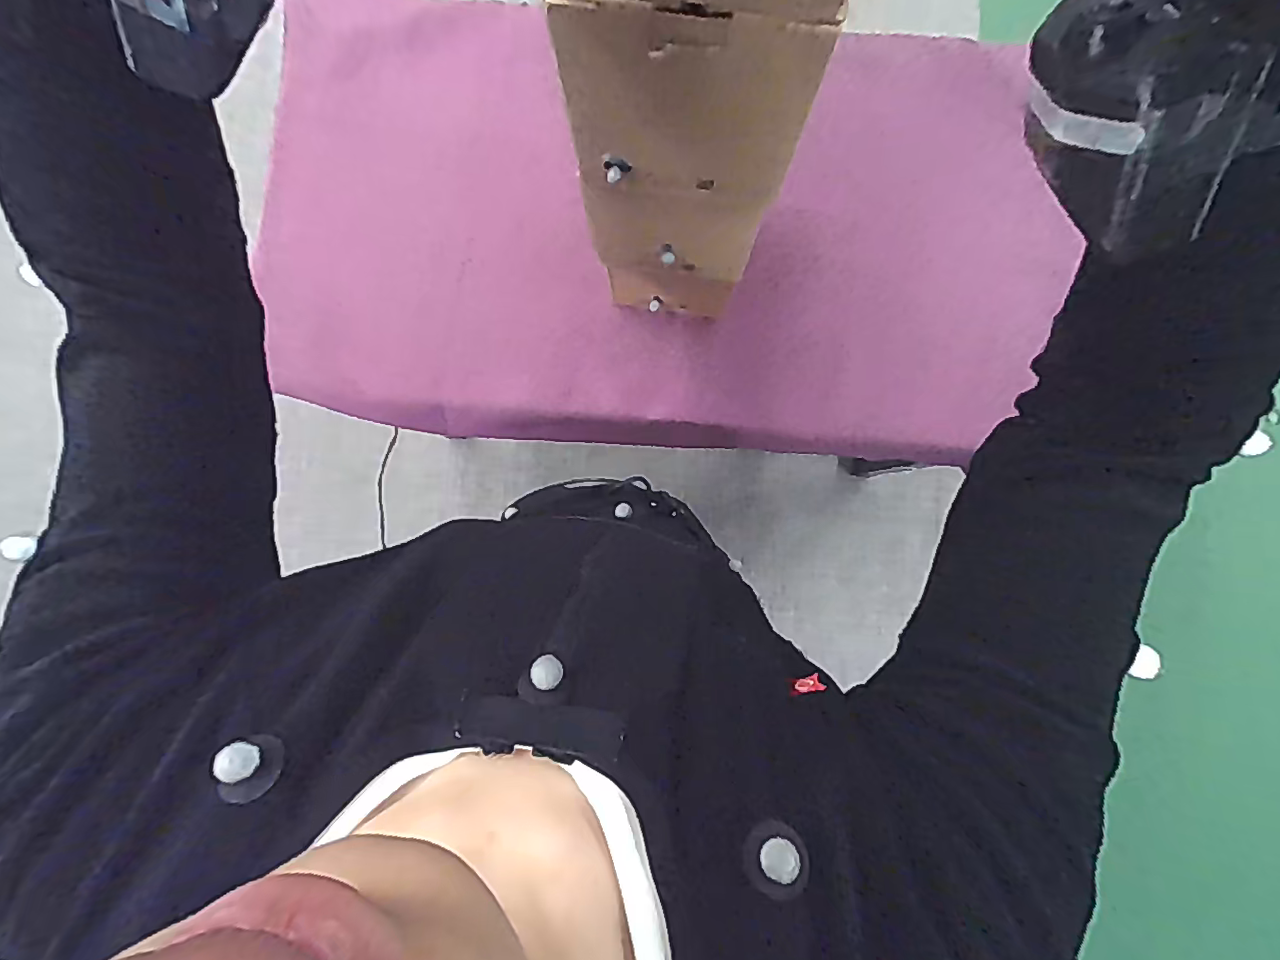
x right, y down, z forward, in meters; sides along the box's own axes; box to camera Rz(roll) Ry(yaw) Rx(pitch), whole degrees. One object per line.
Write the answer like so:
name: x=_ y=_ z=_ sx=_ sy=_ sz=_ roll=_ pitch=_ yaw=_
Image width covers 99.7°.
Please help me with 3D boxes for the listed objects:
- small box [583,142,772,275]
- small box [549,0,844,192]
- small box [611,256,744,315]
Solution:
small box: x=0.044 y=-0.334 z=0.542 sx=0.168 sy=0.176 sz=0.179 roll=7 pitch=87 yaw=3
small box: x=0.044 y=-0.335 z=0.378 sx=0.168 sy=0.176 sz=0.179 roll=8 pitch=86 yaw=2
small box: x=0.054 y=-0.339 z=0.706 sx=0.168 sy=0.176 sz=0.179 roll=9 pitch=87 yaw=2
